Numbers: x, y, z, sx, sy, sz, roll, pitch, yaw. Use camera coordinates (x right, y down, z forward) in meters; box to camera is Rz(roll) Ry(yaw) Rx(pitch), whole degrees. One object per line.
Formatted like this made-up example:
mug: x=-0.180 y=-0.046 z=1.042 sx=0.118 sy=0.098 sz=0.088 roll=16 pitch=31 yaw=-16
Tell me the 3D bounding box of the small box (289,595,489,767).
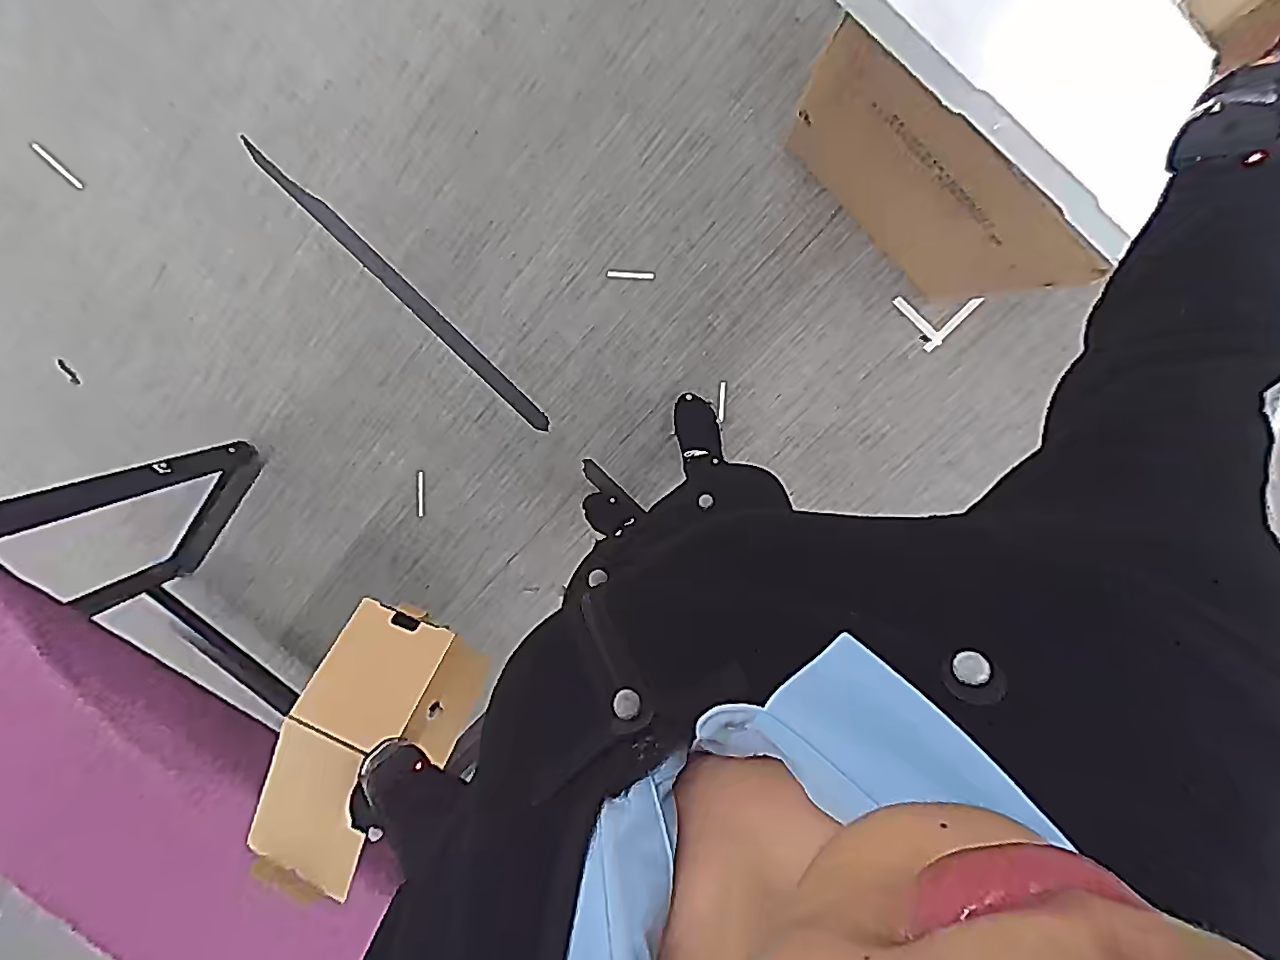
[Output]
small box: x=-0.346 y=0.299 z=0.789 sx=0.168 sy=0.176 sz=0.179 roll=16 pitch=62 yaw=15
